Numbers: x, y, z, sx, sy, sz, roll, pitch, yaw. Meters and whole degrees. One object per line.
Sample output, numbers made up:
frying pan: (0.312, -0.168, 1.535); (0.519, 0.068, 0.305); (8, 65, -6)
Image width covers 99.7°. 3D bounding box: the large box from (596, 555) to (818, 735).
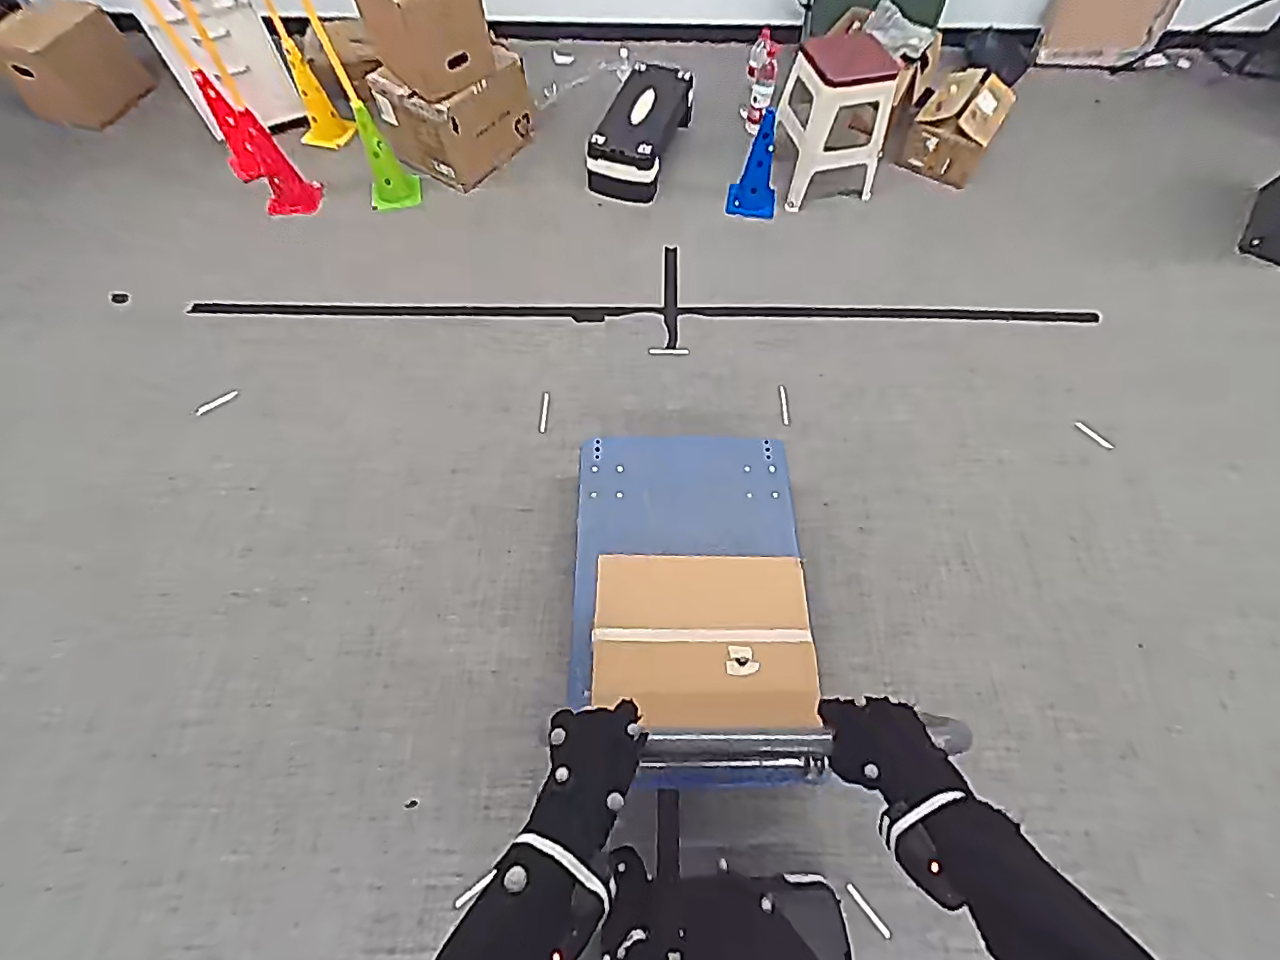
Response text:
large box: (0.112, 0.360, 1.151); (0.408, 0.320, 0.320); (1, 62, -1)
